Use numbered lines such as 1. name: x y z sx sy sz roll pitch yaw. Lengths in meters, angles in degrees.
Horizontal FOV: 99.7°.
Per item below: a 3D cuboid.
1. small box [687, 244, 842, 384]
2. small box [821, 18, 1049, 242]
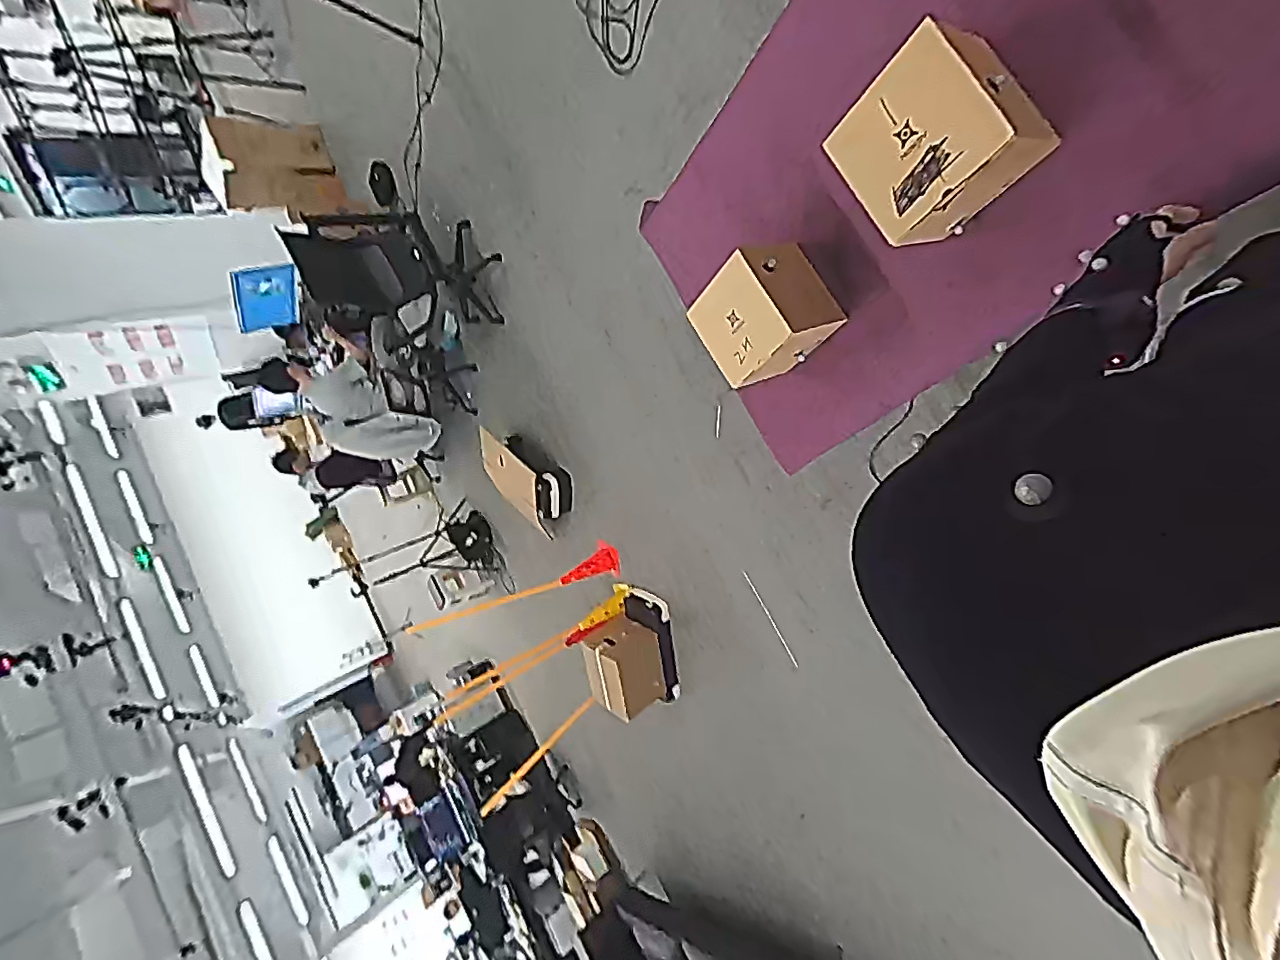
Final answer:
1. small box: 0.224 -0.302 0.979 0.179 0.176 0.168 60 144 9
2. small box: 0.382 -0.443 0.704 0.179 0.176 0.168 61 144 9
